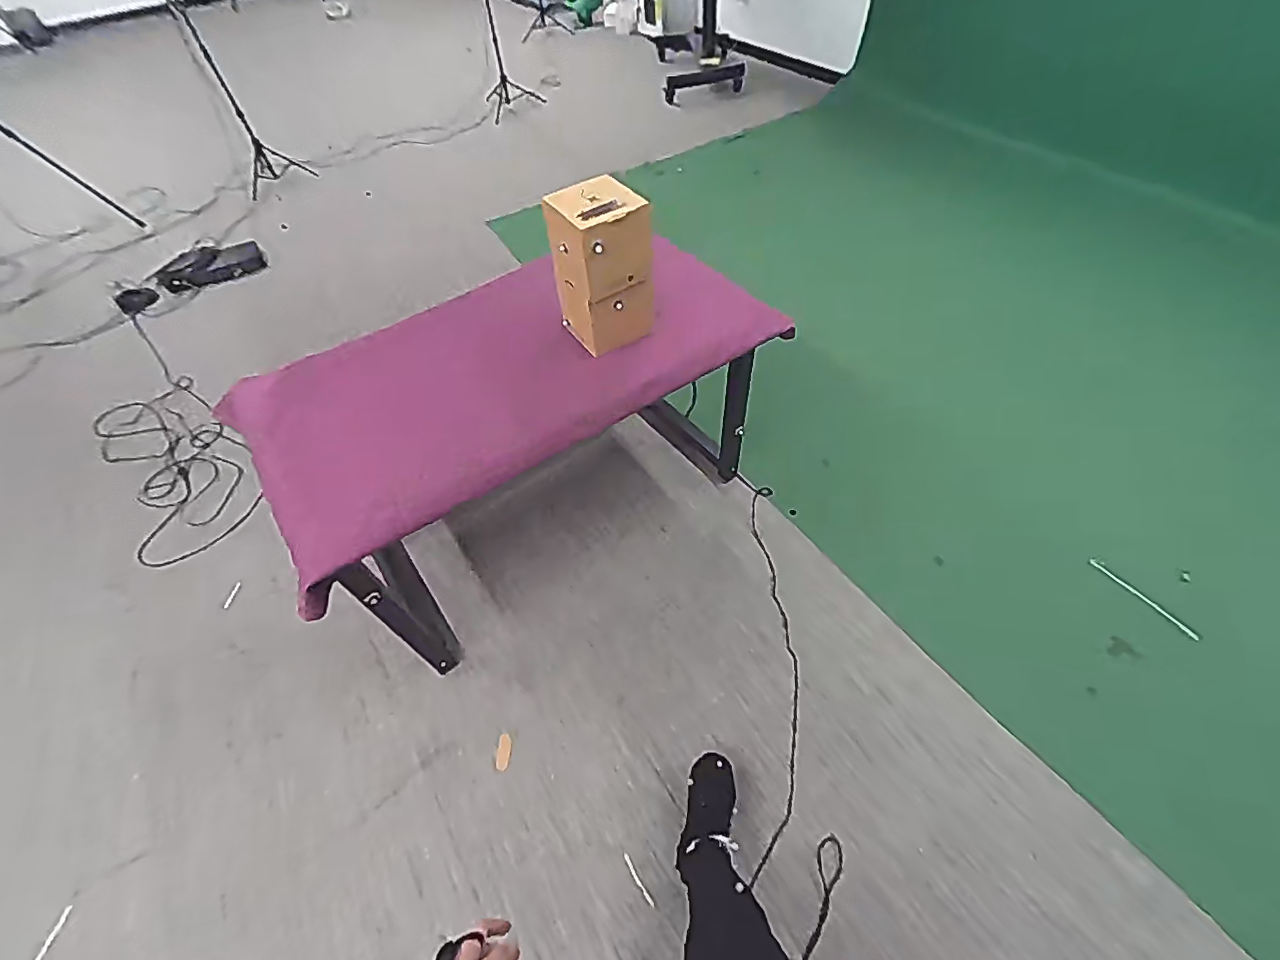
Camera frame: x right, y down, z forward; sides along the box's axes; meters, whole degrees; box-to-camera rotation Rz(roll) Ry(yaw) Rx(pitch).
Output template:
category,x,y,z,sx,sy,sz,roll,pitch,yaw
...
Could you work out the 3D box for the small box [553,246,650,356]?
category,x,y,z,sx,sy,sz,roll,pitch,yaw
small box,-0.088,-0.434,1.322,0.179,0.176,0.168,-29,57,-18
